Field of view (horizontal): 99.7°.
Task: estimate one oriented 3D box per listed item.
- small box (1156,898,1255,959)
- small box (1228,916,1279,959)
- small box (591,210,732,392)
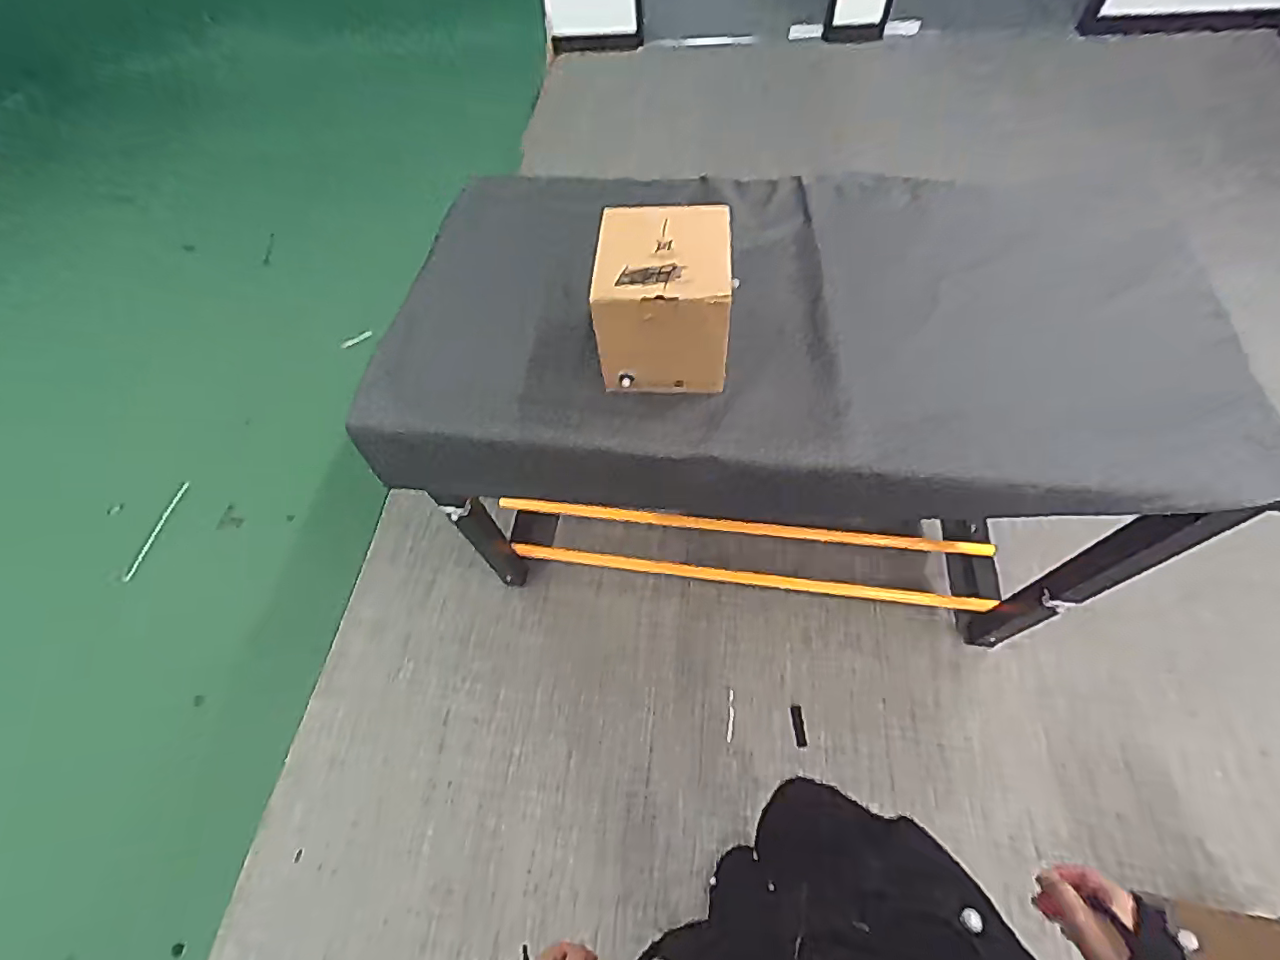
[{"bbox_3d":[1.003,0.815,0.874,0.168,0.176,0.179,7,62,9],"label":"small box"},{"bbox_3d":[0.987,0.730,0.735,0.168,0.176,0.179,5,59,7],"label":"small box"},{"bbox_3d":[0.036,-0.235,0.730,0.168,0.176,0.179,2,59,6],"label":"small box"}]
